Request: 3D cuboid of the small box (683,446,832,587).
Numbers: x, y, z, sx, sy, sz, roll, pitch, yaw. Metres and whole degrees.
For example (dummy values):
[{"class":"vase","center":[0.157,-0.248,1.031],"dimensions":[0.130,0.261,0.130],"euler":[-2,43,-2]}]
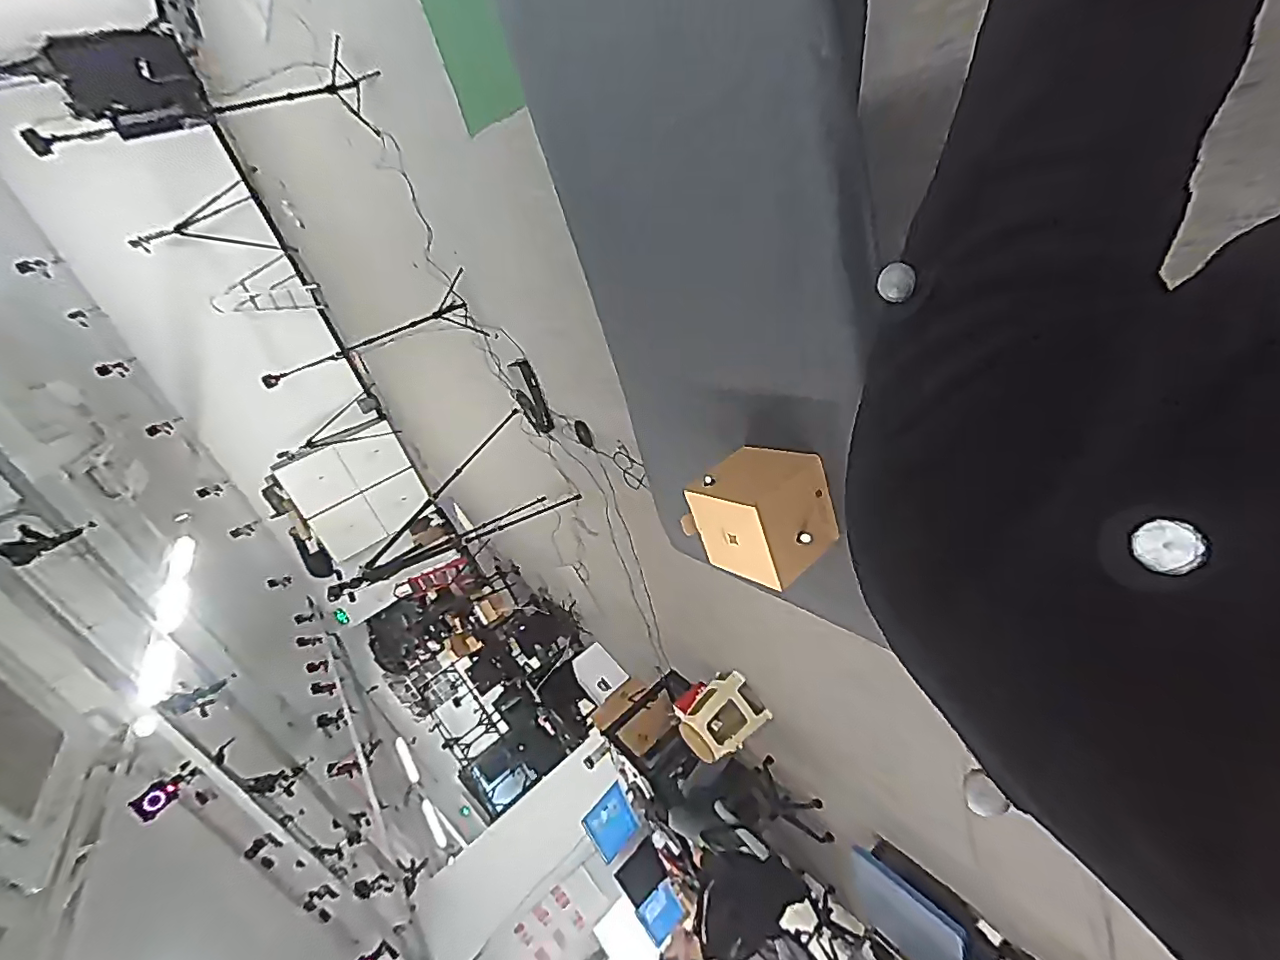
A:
[{"class":"small box","center":[0.211,0.053,0.940],"dimensions":[0.179,0.176,0.168],"euler":[13,131,55]}]
